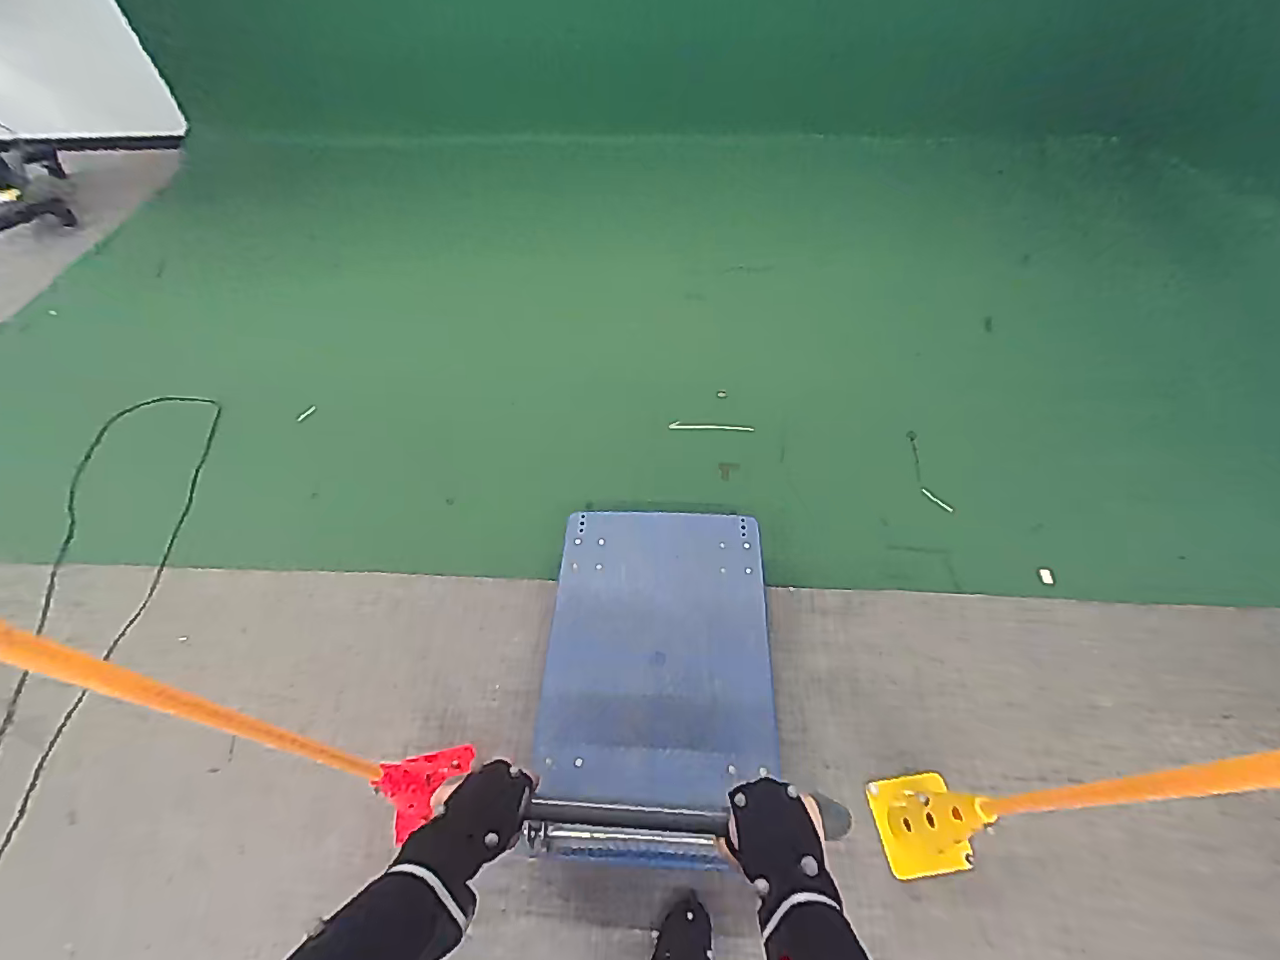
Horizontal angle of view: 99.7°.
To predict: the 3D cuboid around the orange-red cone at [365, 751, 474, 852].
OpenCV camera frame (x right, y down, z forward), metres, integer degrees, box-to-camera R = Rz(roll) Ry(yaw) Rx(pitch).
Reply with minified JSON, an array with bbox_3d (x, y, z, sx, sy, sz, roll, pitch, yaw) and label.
[{"bbox_3d":[-0.524,0.699,1.216,0.199,0.360,0.198,-11,54,-4],"label":"orange-red cone"}]
